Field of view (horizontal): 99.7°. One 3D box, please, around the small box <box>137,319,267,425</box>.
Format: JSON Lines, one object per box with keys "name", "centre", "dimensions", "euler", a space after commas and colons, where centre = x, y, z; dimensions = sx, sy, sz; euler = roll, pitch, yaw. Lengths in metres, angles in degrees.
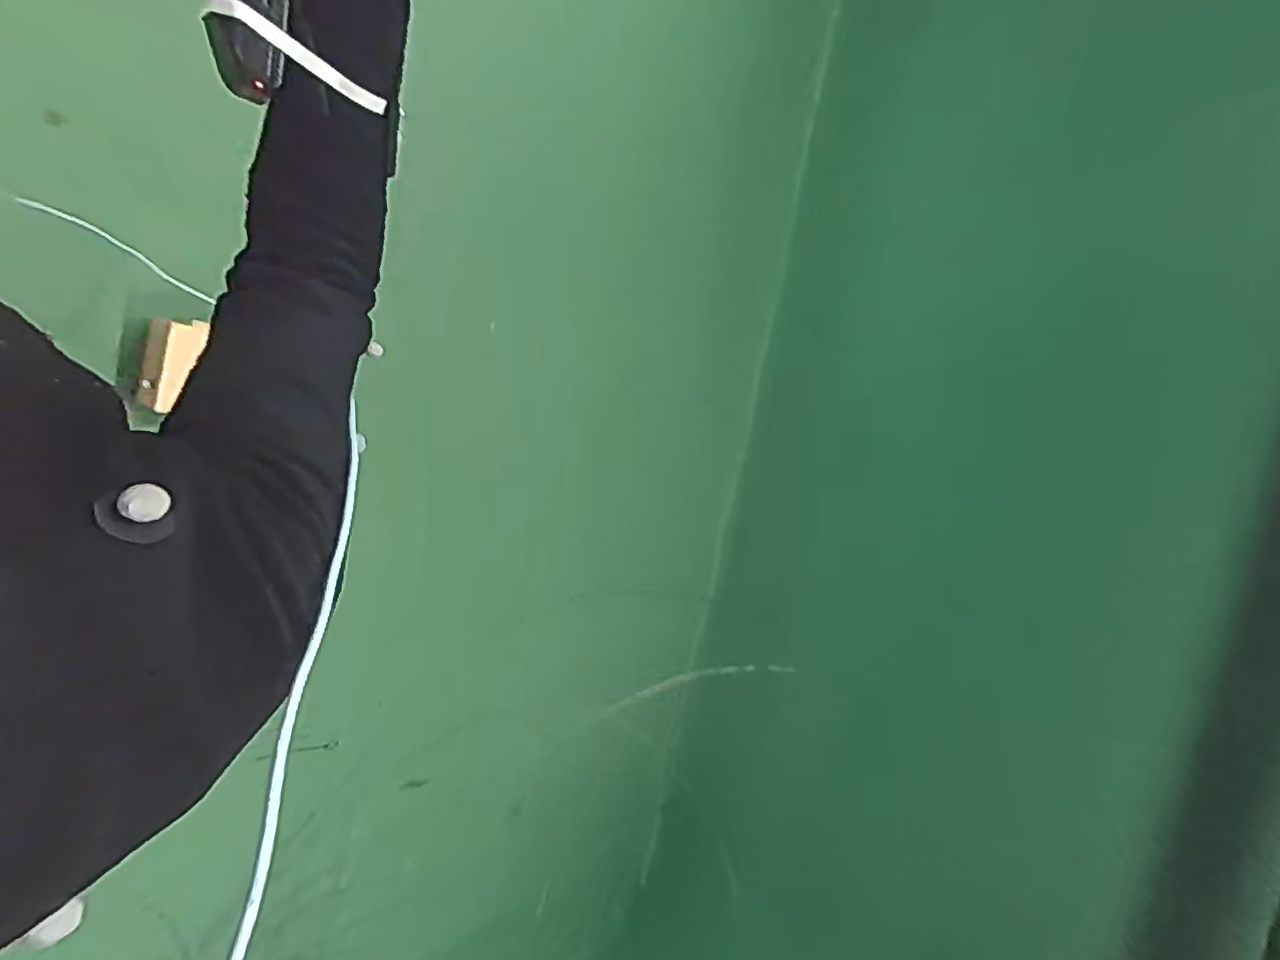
{"name": "small box", "centre": [-0.917, -0.225, 1.128], "dimensions": [0.168, 0.176, 0.179], "euler": [10, 94, -54]}
